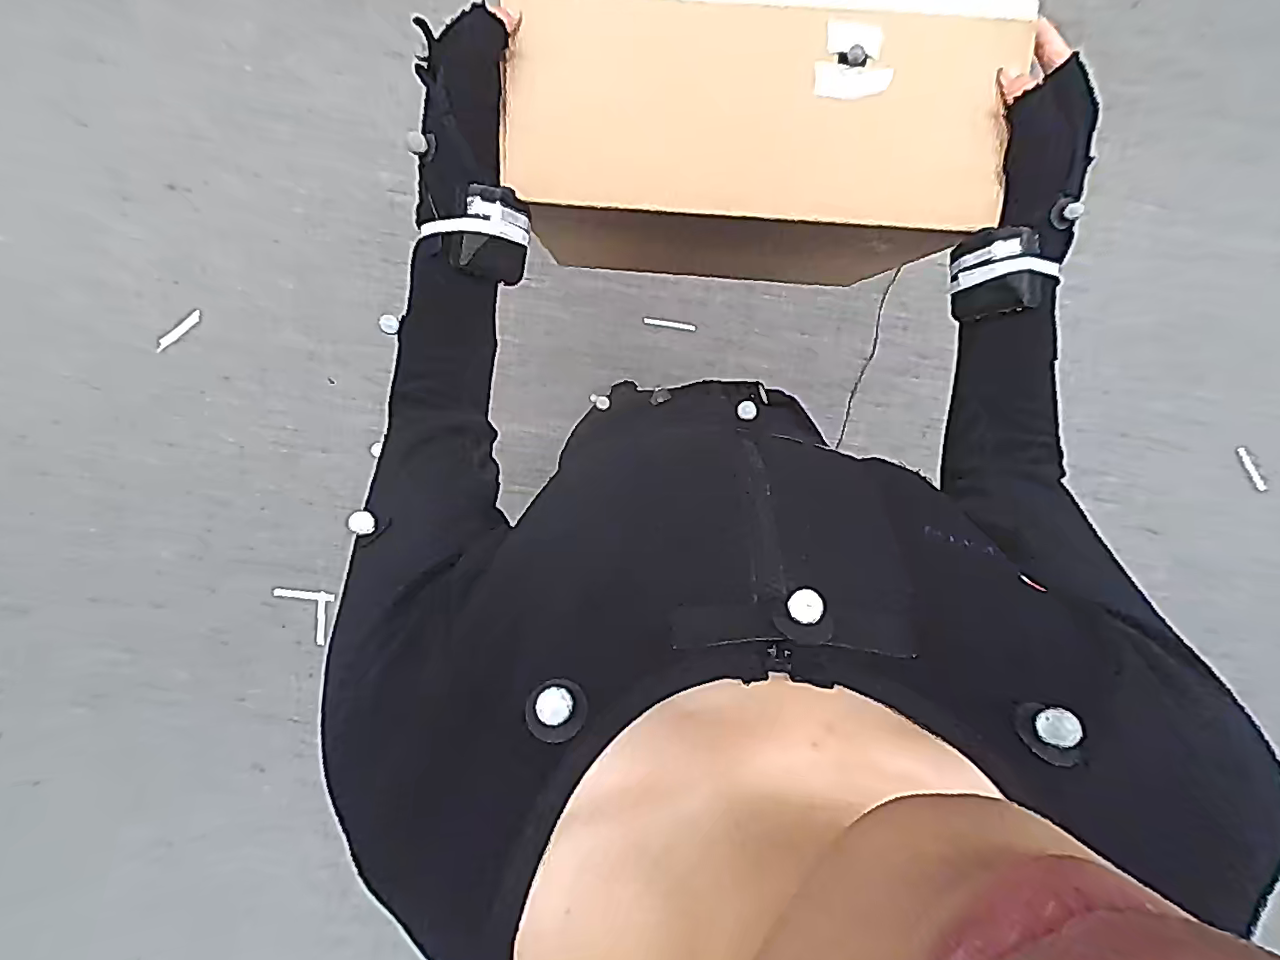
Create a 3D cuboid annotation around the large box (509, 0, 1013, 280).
[{"bbox_3d":[0.091,-0.403,0.570,0.408,0.320,0.320,3,103,-2],"label":"large box"}]
